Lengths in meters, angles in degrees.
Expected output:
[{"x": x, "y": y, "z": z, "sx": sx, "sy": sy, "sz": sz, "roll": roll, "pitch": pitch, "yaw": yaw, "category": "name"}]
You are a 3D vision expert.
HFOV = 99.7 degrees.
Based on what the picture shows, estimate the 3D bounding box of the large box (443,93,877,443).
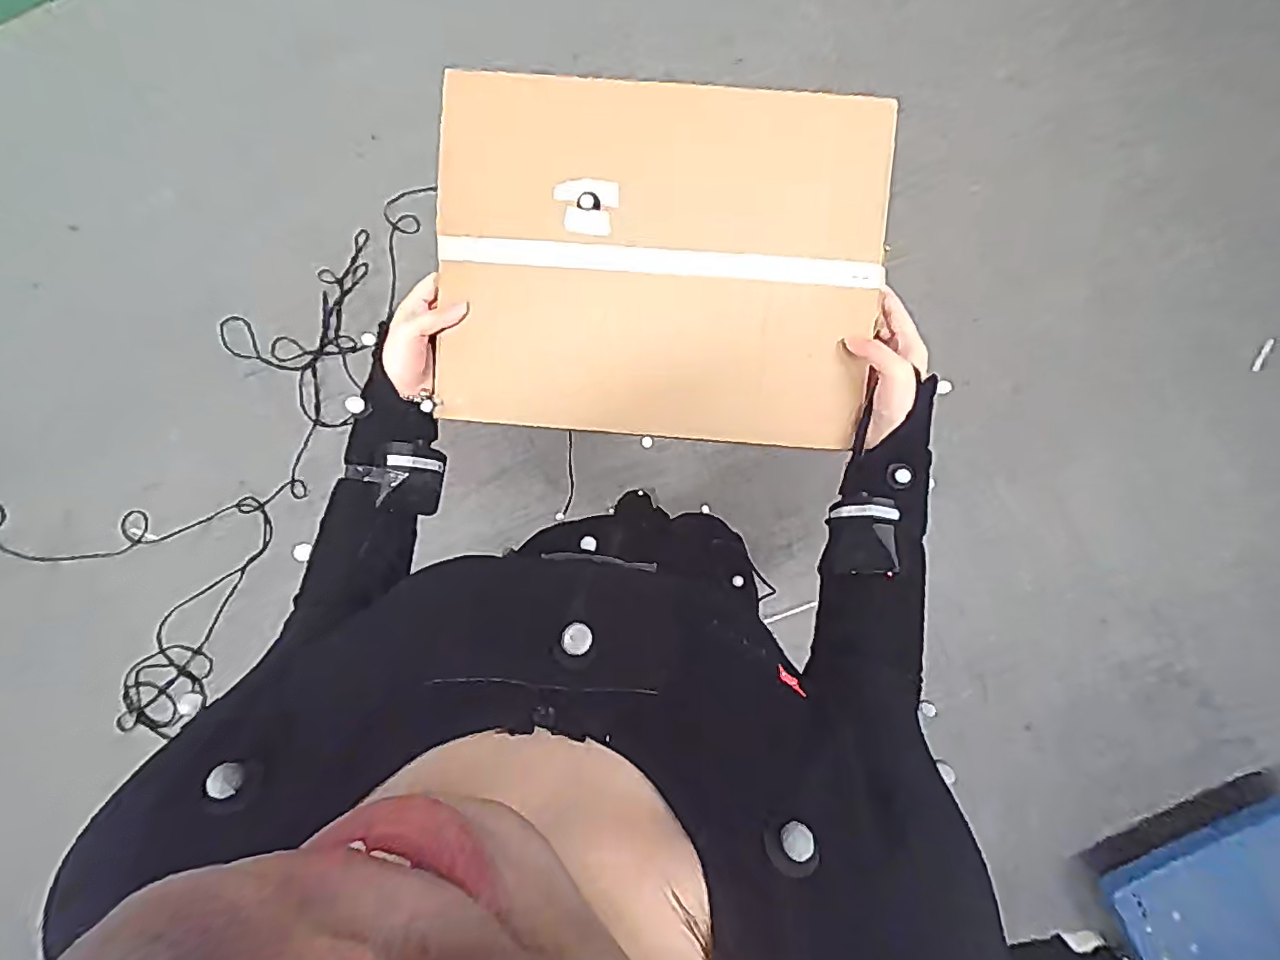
[{"x": 0.019, "y": -0.216, "z": 0.659, "sx": 0.408, "sy": 0.320, "sz": 0.320, "roll": 4, "pitch": 96, "yaw": 3, "category": "large box"}]
